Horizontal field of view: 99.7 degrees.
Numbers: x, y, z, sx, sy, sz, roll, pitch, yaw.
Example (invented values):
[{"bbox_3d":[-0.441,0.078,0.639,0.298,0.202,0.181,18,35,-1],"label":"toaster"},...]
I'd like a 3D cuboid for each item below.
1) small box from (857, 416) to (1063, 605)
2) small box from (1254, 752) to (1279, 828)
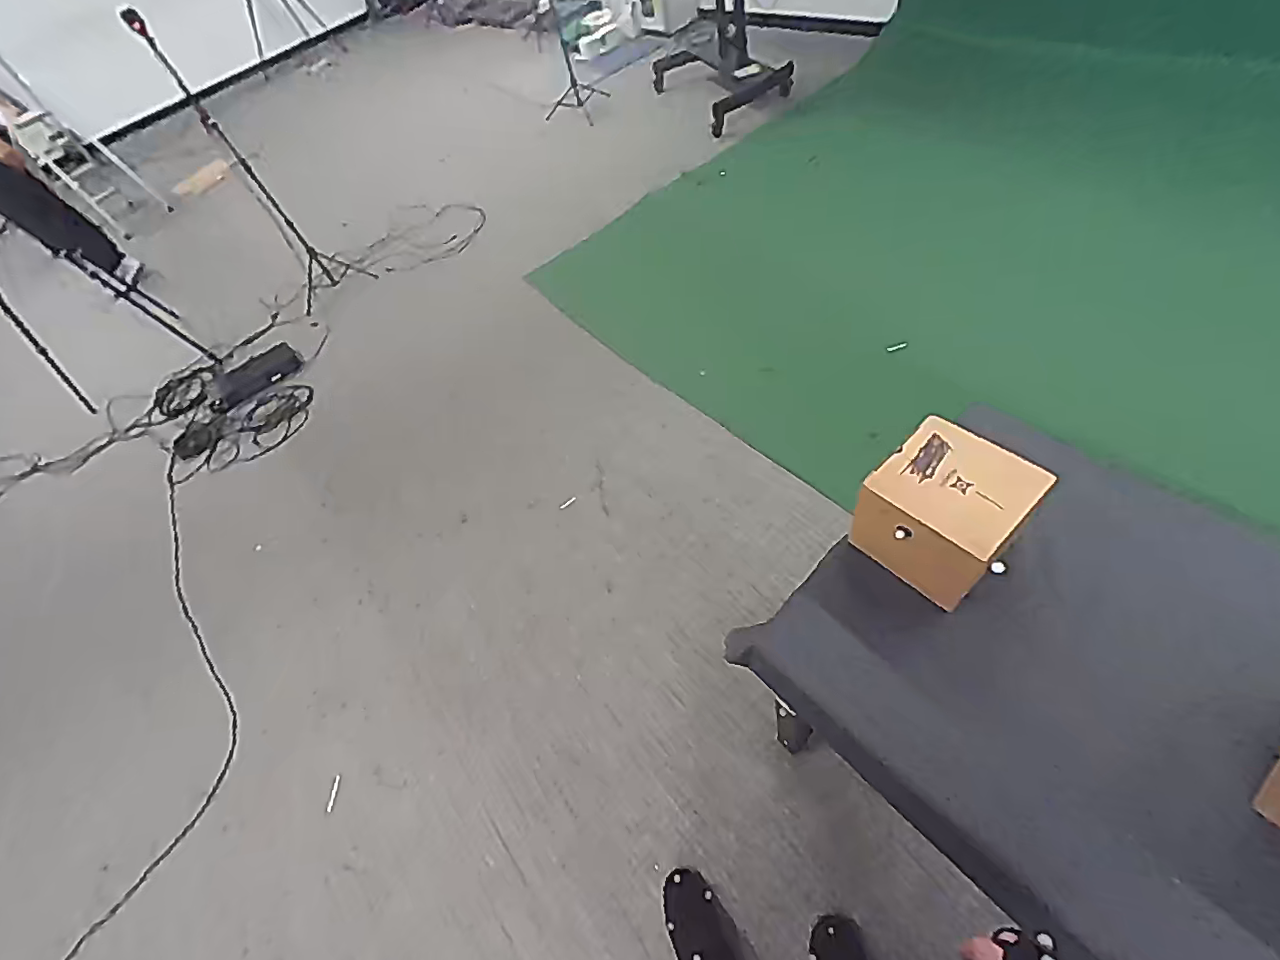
[{"bbox_3d":[0.438,0.048,0.776,0.168,0.176,0.179,-40,57,-15],"label":"small box"},{"bbox_3d":[0.776,0.314,0.511,0.168,0.176,0.179,-40,55,-16],"label":"small box"}]
